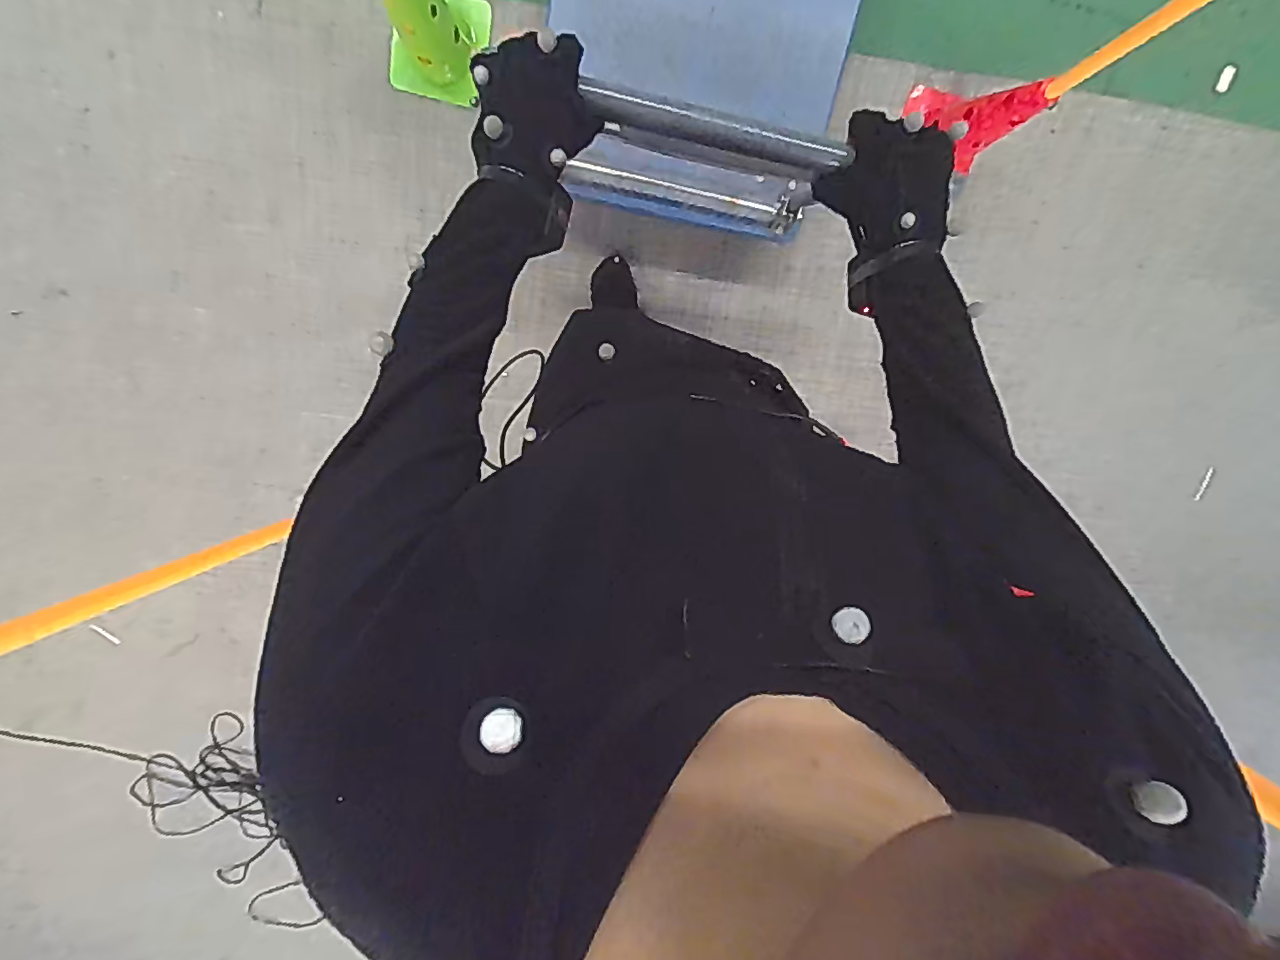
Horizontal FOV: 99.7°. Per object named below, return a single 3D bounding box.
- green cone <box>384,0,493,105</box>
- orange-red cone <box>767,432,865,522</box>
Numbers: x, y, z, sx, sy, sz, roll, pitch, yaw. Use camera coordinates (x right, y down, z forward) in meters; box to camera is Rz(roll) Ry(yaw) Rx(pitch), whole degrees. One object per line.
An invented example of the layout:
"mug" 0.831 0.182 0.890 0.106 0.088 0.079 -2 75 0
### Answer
"green cone" -0.418 -0.885 0.999 0.202 0.368 0.200 11 107 -5
"orange-red cone" 0.471 0.023 1.355 0.199 0.360 0.198 6 108 -3
